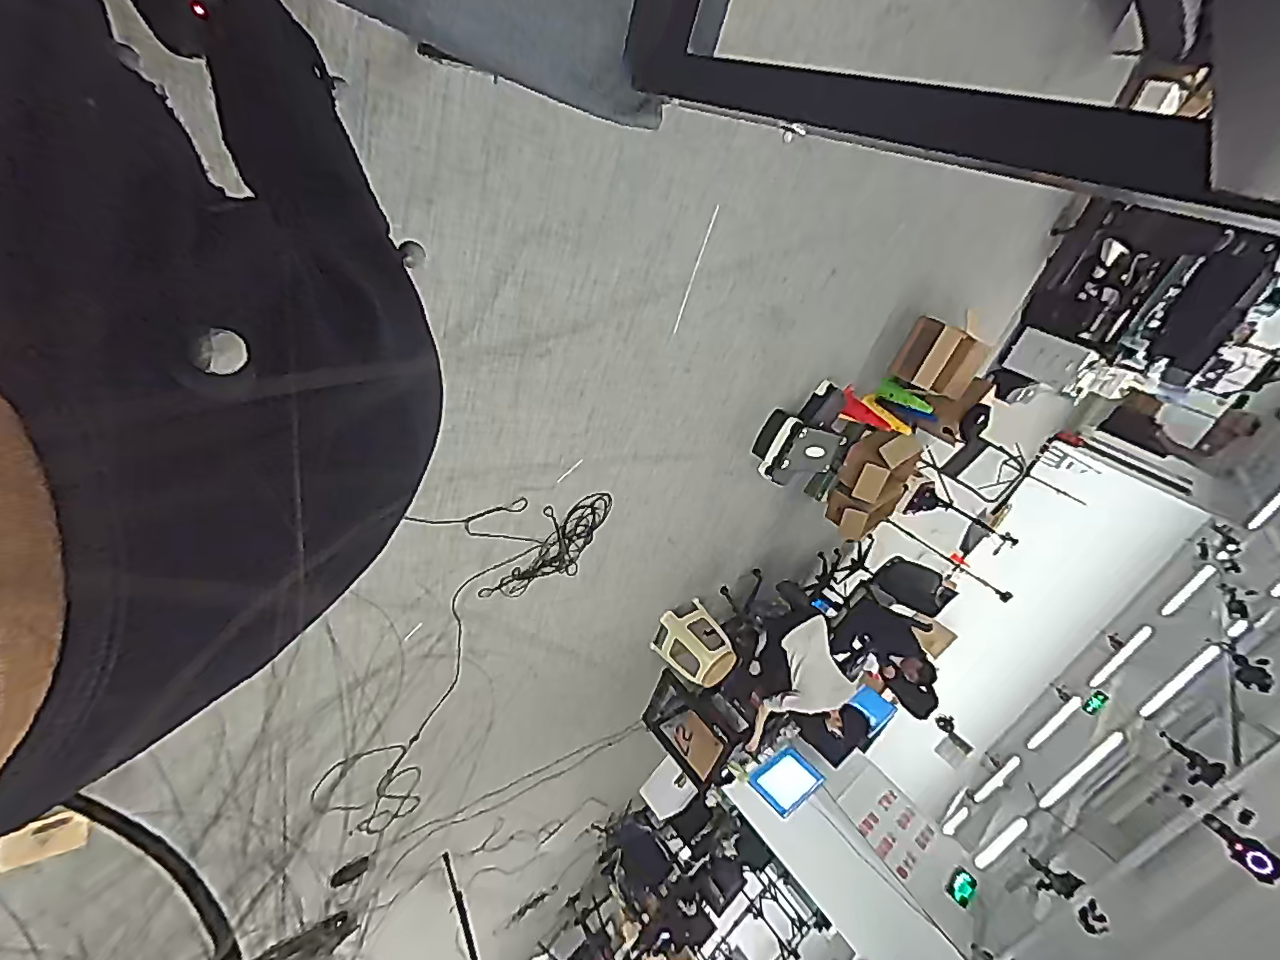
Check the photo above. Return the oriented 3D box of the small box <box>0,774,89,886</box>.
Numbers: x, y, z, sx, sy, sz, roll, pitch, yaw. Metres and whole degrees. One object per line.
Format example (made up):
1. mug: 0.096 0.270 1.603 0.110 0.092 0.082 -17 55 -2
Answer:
1. small box: -1.622 0.935 1.467 0.168 0.176 0.179 2 121 -47
